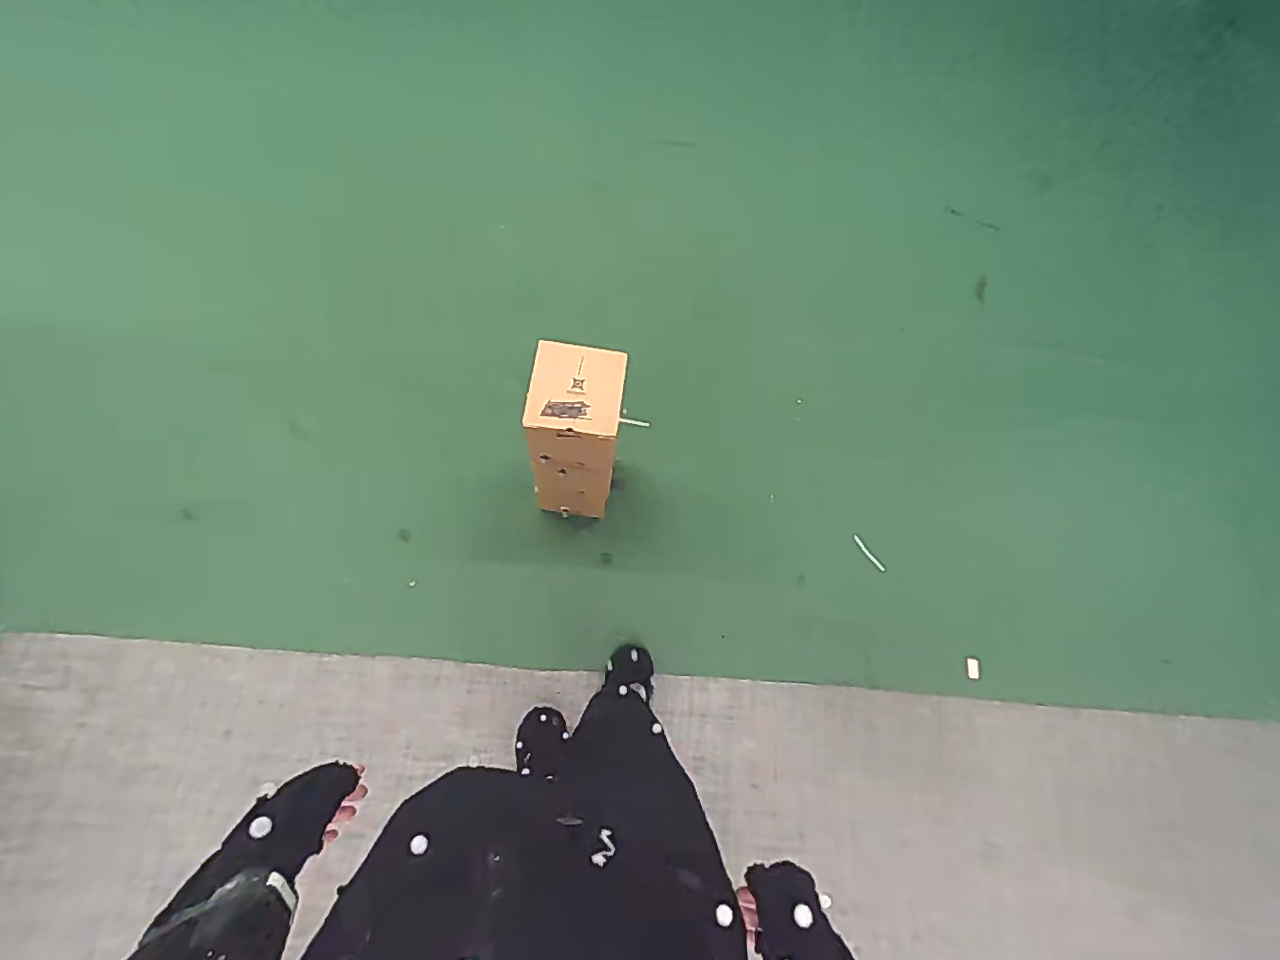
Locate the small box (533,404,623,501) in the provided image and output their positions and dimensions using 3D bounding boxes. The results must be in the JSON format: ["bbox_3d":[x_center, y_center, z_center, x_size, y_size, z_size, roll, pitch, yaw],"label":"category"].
[{"bbox_3d":[-0.135,-0.070,1.193,0.168,0.176,0.179,8,69,-3],"label":"small box"}]

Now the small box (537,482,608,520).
[{"bbox_3d":[-0.156,-0.013,1.345,0.168,0.176,0.179,7,72,-3],"label":"small box"}]

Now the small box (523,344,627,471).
[{"bbox_3d":[-0.121,-0.131,1.040,0.168,0.176,0.179,8,69,-4],"label":"small box"}]
